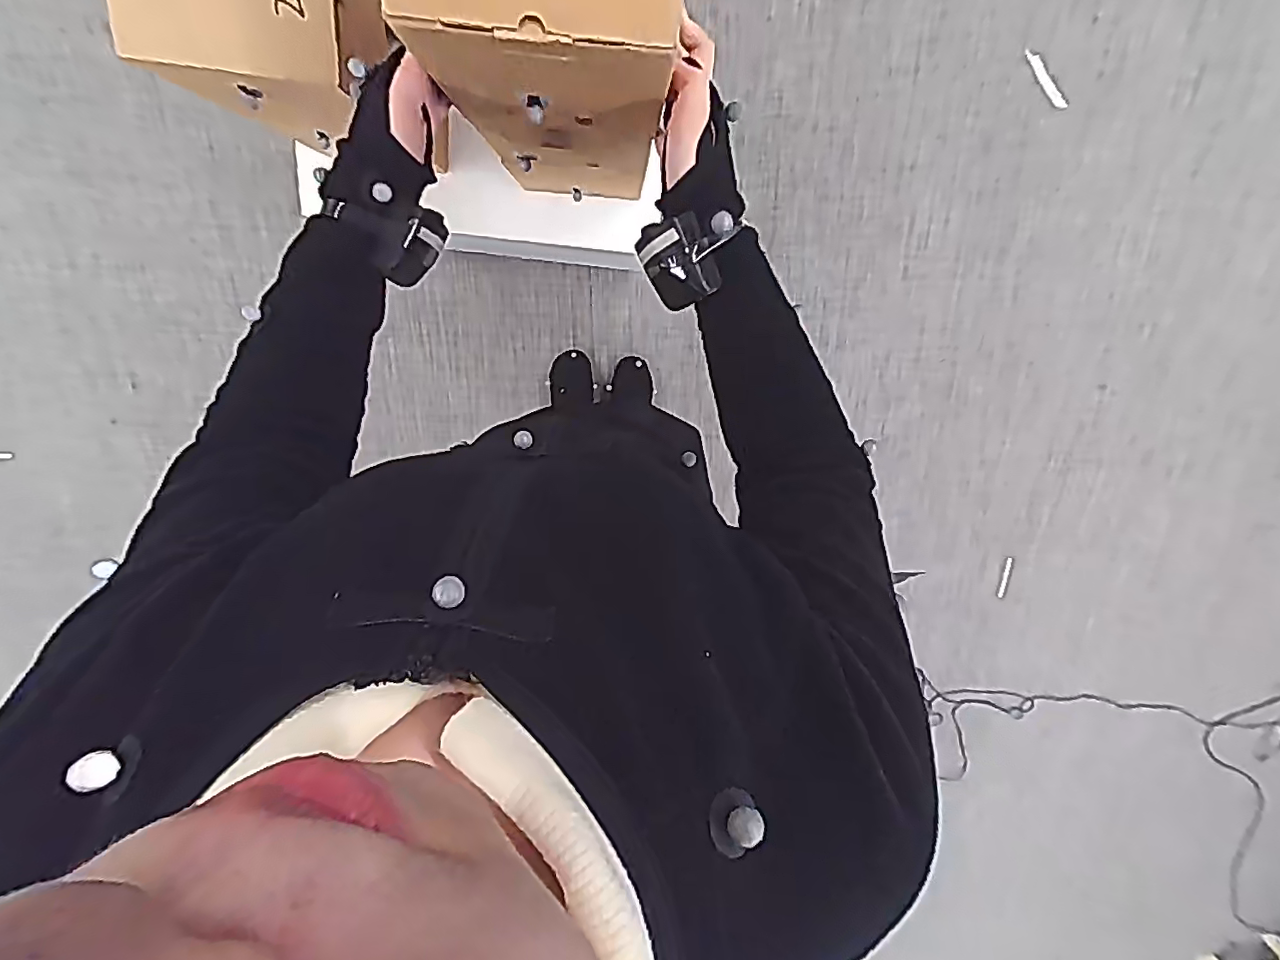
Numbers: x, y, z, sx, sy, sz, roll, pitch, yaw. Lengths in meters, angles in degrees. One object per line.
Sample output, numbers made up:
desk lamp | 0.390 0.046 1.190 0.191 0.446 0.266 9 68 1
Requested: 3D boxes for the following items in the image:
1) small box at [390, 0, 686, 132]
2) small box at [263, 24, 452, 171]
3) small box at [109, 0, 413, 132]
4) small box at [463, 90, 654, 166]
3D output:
small box | -0.055 -0.357 0.353 0.168 0.176 0.179 3 110 -4
small box | -0.329 -0.491 0.638 0.168 0.176 0.179 6 108 -4
small box | -0.322 -0.434 0.484 0.179 0.176 0.168 5 110 -5
small box | -0.063 -0.412 0.505 0.168 0.176 0.179 4 108 -4
